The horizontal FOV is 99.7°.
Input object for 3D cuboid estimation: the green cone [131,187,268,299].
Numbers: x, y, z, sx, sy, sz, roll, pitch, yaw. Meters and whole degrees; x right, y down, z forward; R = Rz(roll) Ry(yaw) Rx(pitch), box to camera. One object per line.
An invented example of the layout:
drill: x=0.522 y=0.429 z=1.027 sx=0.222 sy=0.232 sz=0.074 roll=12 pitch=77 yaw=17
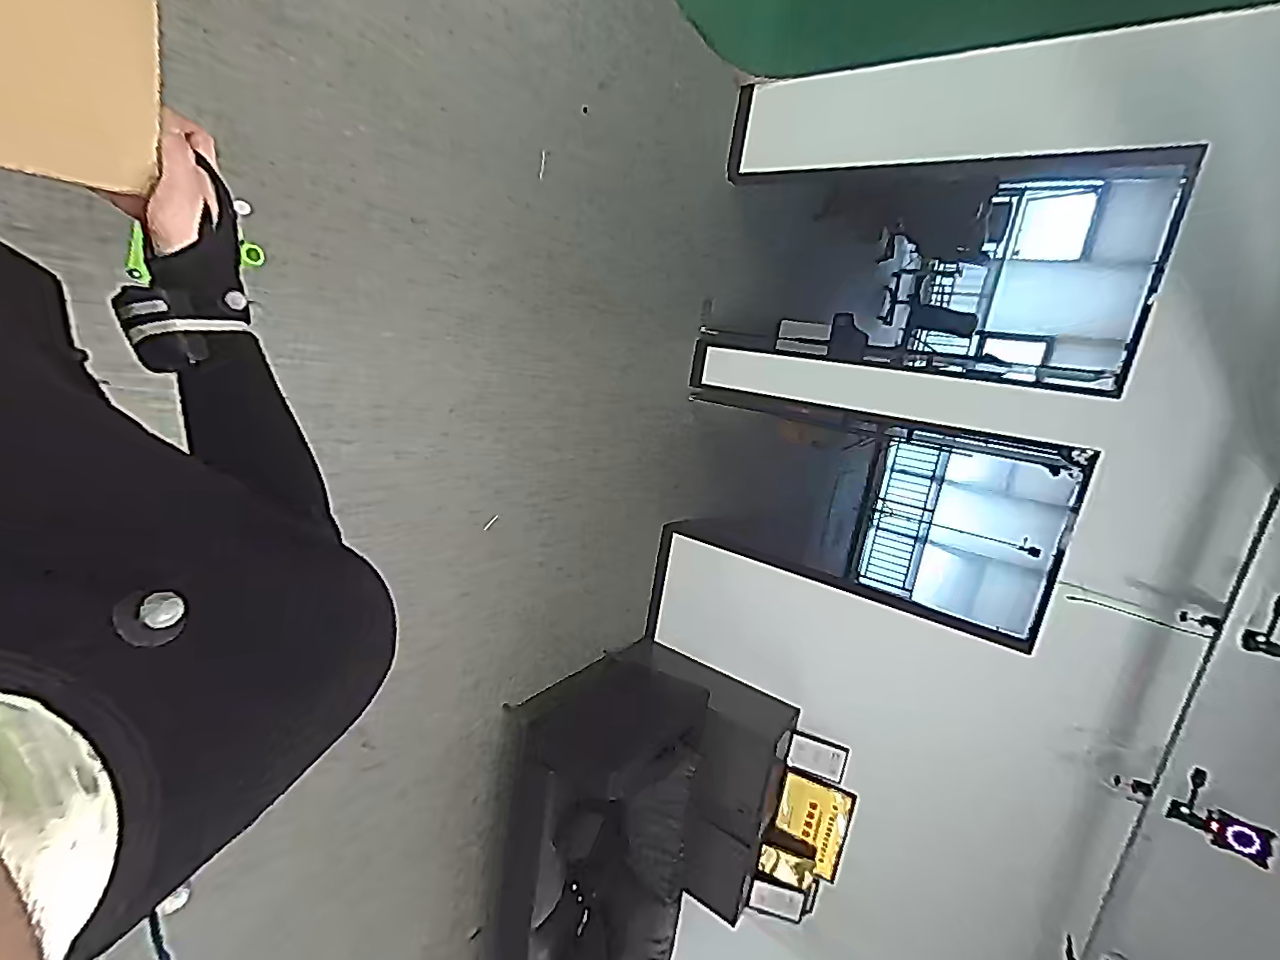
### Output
green cone: x=-0.910 y=-0.506 z=1.174 sx=0.200 sy=0.368 sz=0.202 roll=2 pitch=101 yaw=-58
